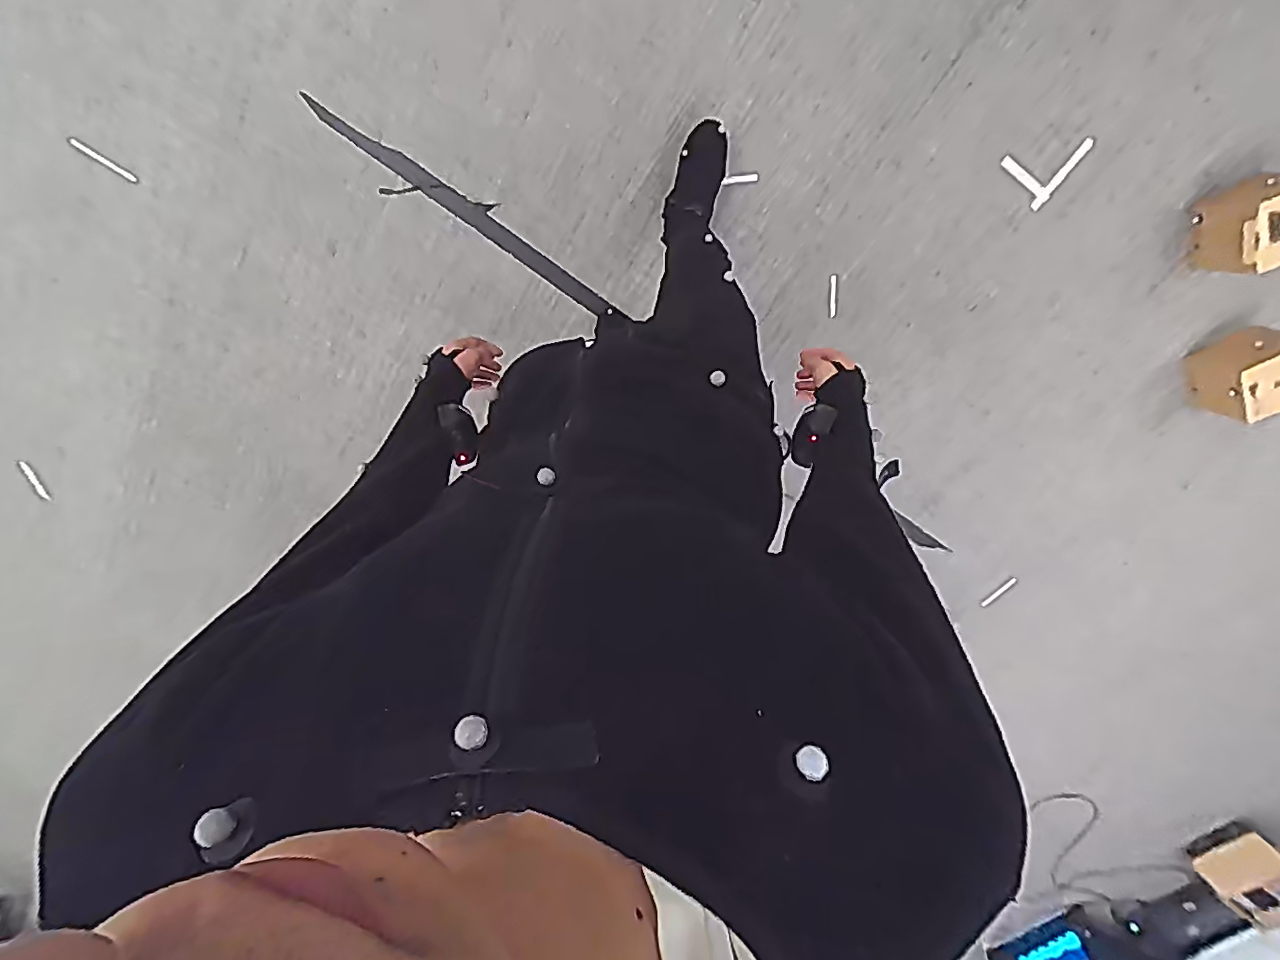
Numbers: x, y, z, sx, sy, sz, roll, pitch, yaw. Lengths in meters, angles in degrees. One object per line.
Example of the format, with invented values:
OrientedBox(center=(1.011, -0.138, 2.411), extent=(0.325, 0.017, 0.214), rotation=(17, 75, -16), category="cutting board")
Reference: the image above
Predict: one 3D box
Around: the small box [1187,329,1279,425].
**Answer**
OrientedBox(center=(1.629, -0.280, 1.437), extent=(0.179, 0.176, 0.168), rotation=(-29, 112, 13), category="small box")

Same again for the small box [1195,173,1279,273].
OrientedBox(center=(1.477, -0.610, 1.279), extent=(0.179, 0.176, 0.168), rotation=(-22, 114, 11), category="small box")
